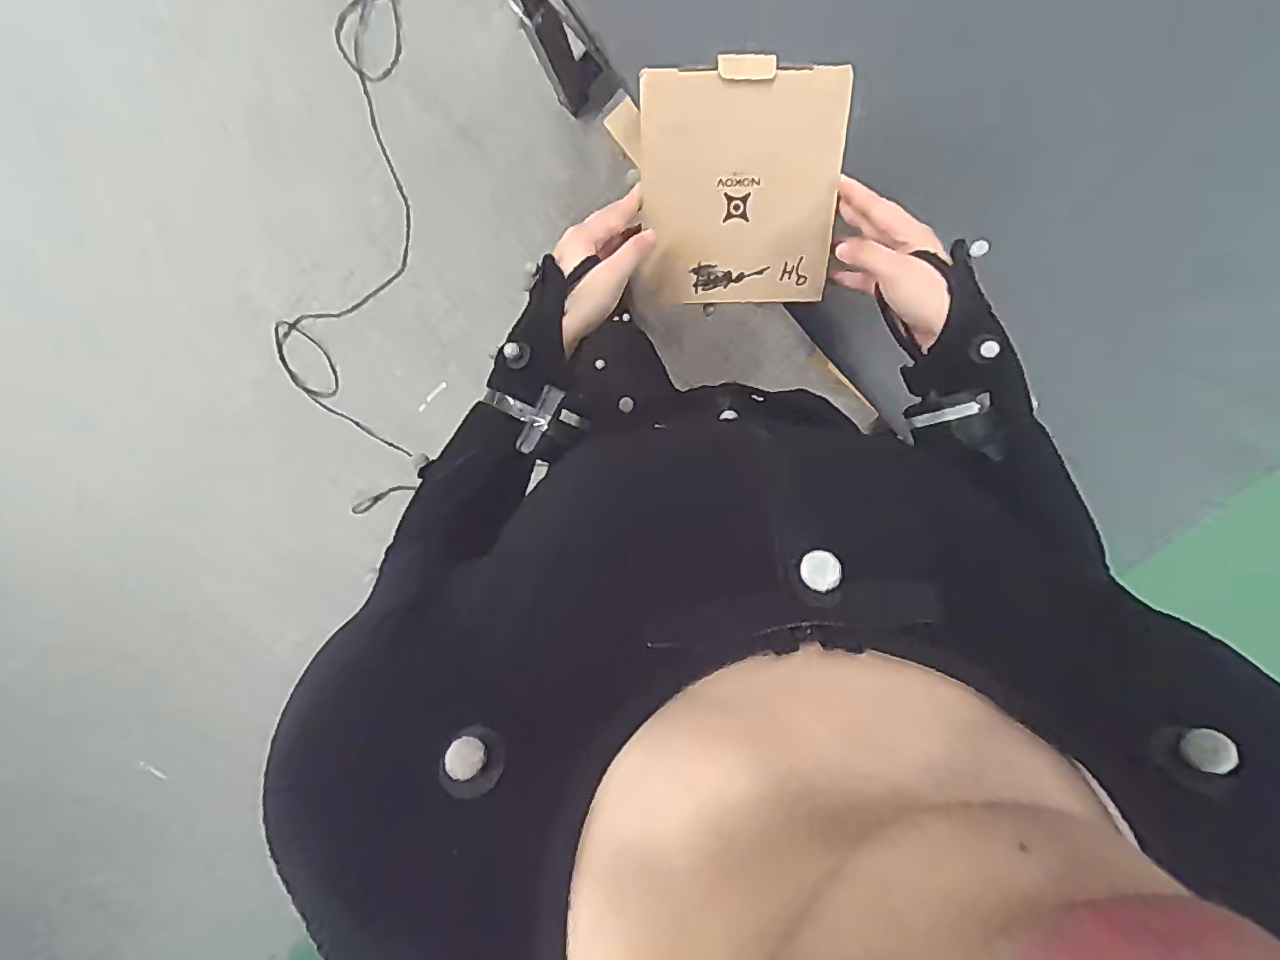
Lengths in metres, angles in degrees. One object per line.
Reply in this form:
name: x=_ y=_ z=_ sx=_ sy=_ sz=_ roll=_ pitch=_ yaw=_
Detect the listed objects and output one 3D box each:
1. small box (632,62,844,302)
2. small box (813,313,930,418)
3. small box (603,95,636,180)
small box: x=0.076 y=-0.276 z=0.522 sx=0.168 sy=0.176 sz=0.179 roll=1 pitch=117 yaw=1
small box: x=0.539 y=-0.277 z=1.293 sx=0.168 sy=0.176 sz=0.179 roll=39 pitch=105 yaw=-10
small box: x=0.044 y=-0.728 z=1.170 sx=0.179 sy=0.176 sz=0.168 roll=-39 pitch=102 yaw=12
